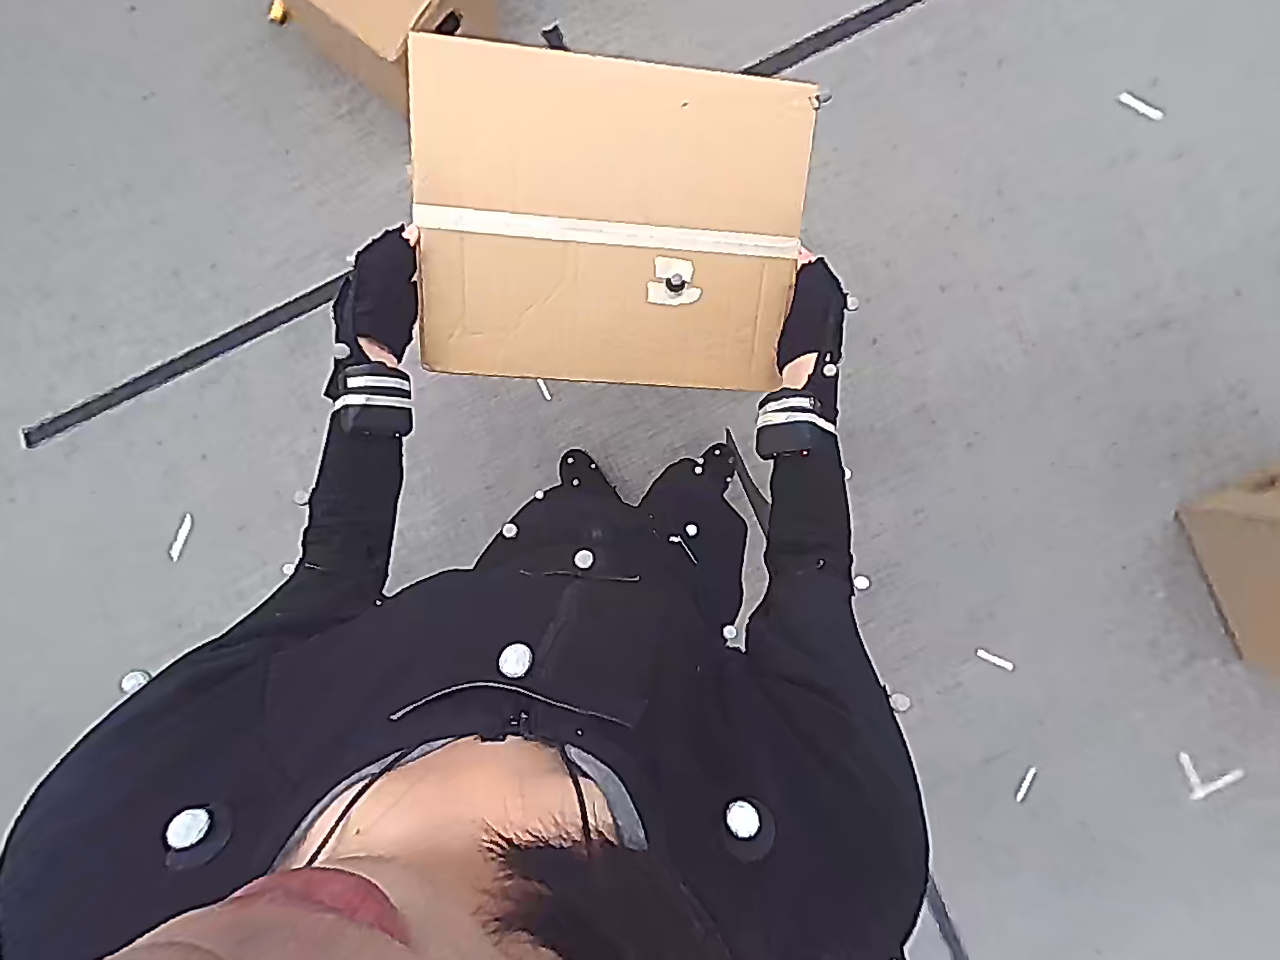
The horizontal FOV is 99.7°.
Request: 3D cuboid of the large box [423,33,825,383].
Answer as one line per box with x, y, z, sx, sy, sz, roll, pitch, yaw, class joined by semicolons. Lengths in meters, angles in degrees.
-0.034;-0.304;0.708;0.408;0.320;0.320;2;106;-8;large box
